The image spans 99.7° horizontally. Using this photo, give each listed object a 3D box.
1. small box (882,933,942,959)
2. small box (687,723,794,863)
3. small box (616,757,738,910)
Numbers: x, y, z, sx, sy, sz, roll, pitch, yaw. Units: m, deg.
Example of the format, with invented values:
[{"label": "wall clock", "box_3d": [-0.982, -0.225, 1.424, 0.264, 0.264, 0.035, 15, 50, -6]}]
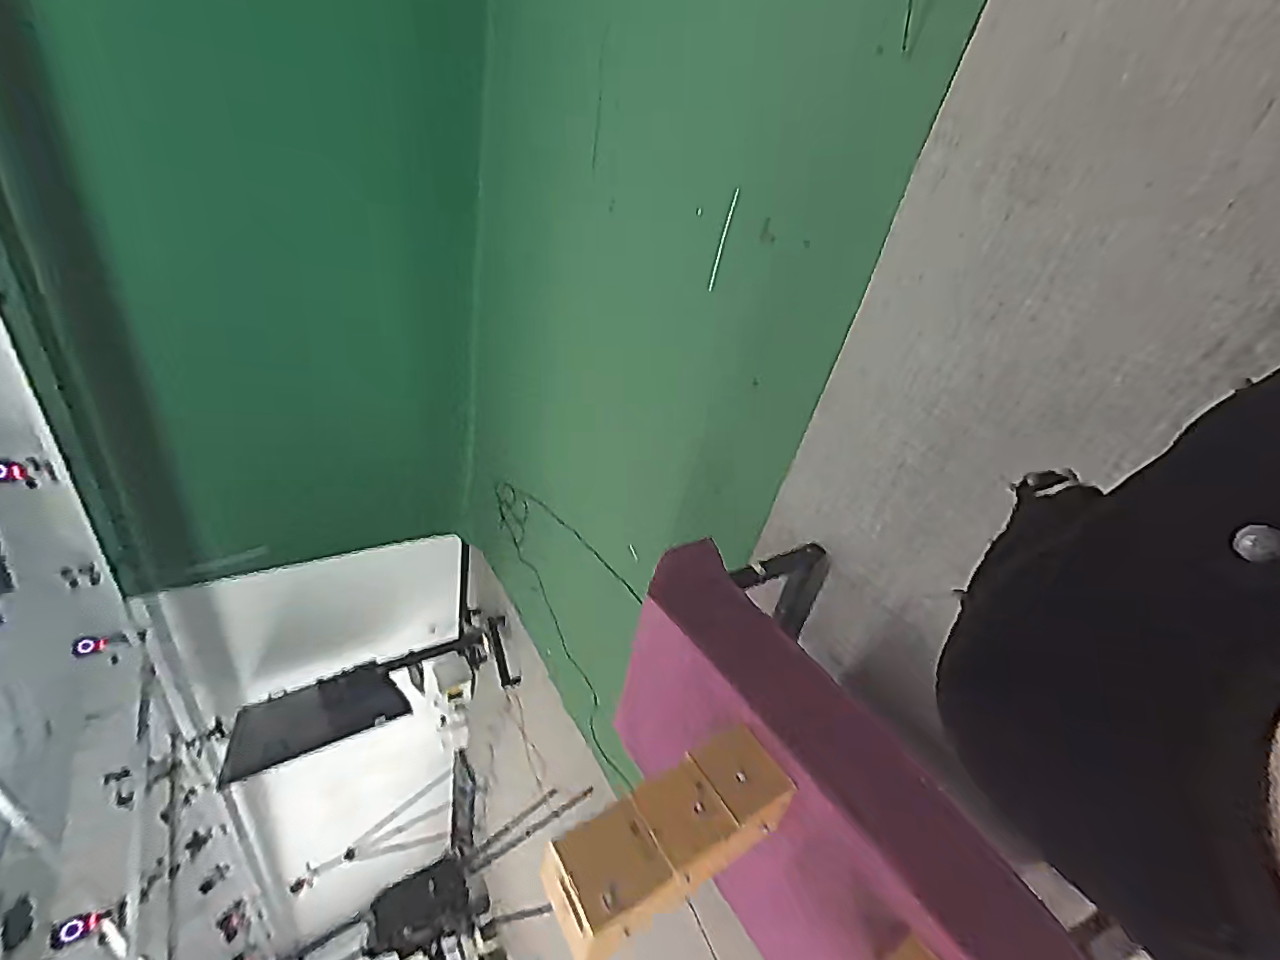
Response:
[{"label": "small box", "box_3d": [0.450, 0.911, 0.895, 0.168, 0.176, 0.179, 43, 133, 42]}, {"label": "small box", "box_3d": [0.207, 0.678, 1.190, 0.179, 0.176, 0.168, 41, 130, 42]}, {"label": "small box", "box_3d": [0.074, 0.711, 1.101, 0.168, 0.176, 0.179, 43, 132, 42]}]
